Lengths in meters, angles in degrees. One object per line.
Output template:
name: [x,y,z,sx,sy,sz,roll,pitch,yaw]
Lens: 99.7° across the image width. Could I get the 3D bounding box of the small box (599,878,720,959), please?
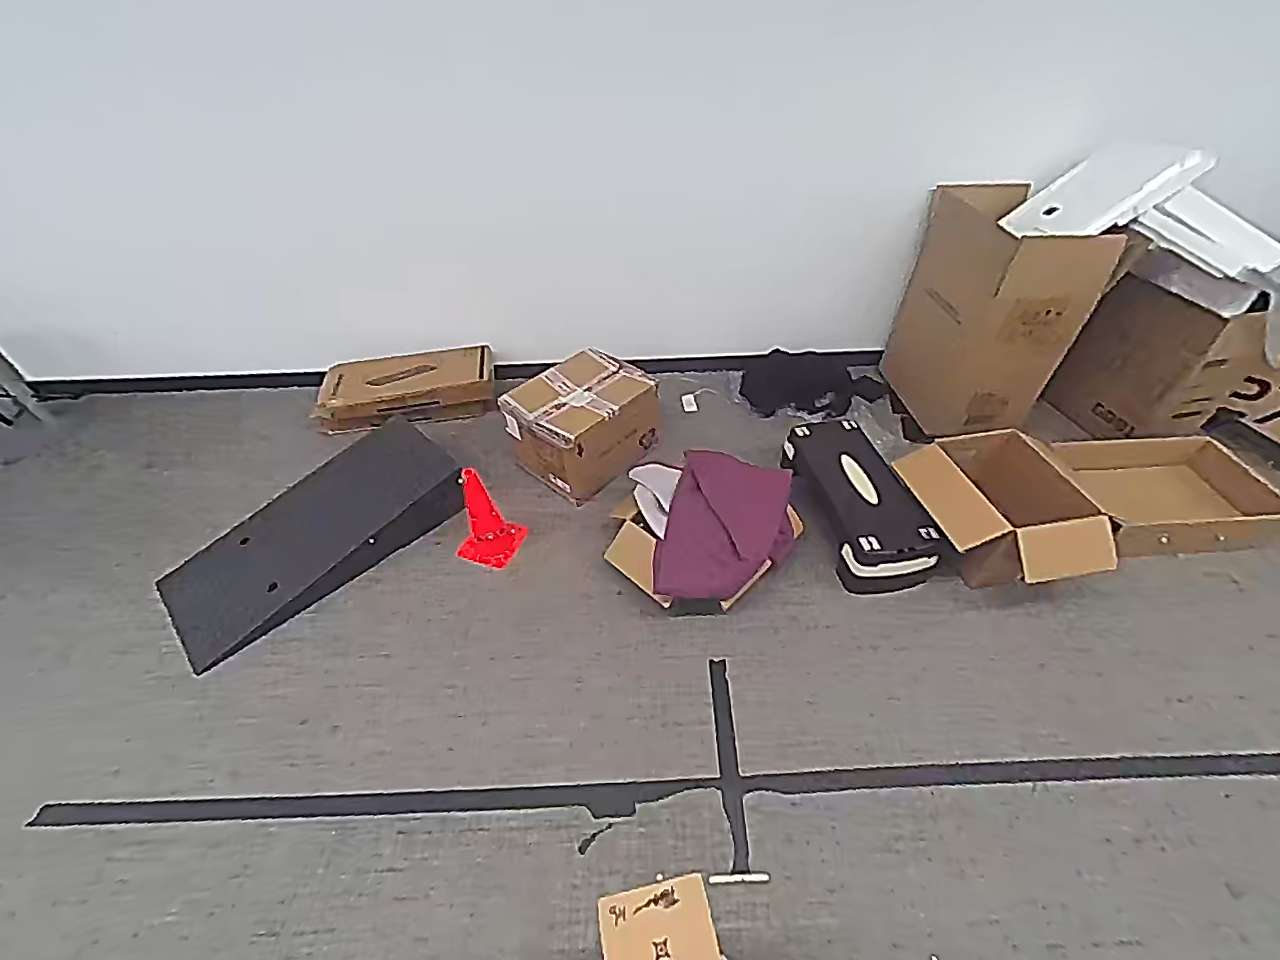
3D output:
small box: [0.038,0.738,0.818,0.168,0.176,0.179,-10,44,-6]
